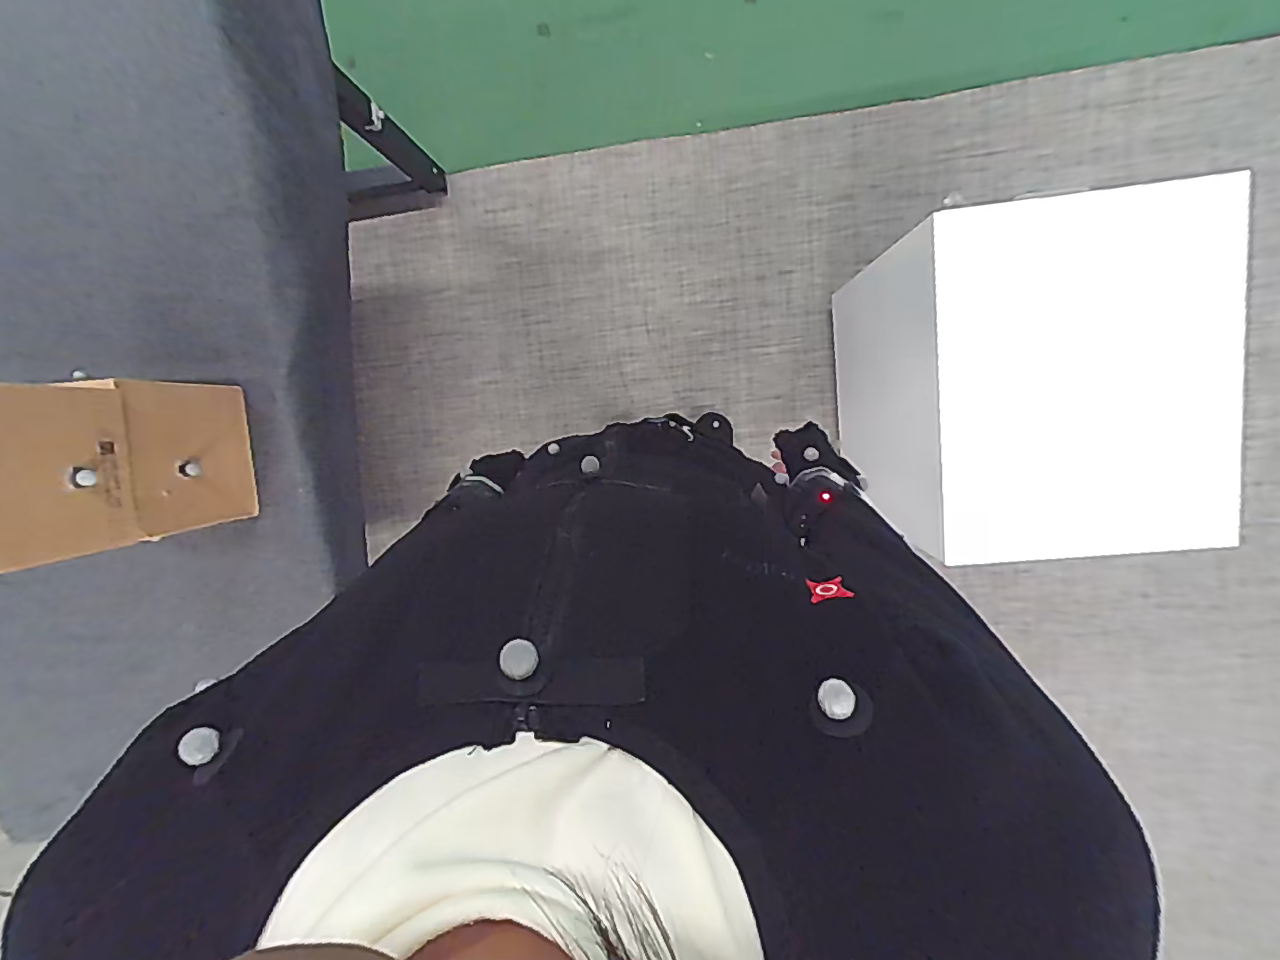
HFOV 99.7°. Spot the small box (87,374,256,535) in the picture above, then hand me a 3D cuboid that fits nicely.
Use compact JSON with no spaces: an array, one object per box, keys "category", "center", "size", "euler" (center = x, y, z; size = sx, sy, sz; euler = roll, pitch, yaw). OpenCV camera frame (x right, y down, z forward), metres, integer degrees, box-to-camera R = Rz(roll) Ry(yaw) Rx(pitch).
[{"category":"small box","center":[-0.617,-0.036,0.668],"size":[0.168,0.176,0.179],"euler":[-3,98,6]}]

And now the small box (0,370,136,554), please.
[{"category":"small box","center":[-0.640,-0.015,0.507],"size":[0.179,0.176,0.168],"euler":[-3,97,8]}]
